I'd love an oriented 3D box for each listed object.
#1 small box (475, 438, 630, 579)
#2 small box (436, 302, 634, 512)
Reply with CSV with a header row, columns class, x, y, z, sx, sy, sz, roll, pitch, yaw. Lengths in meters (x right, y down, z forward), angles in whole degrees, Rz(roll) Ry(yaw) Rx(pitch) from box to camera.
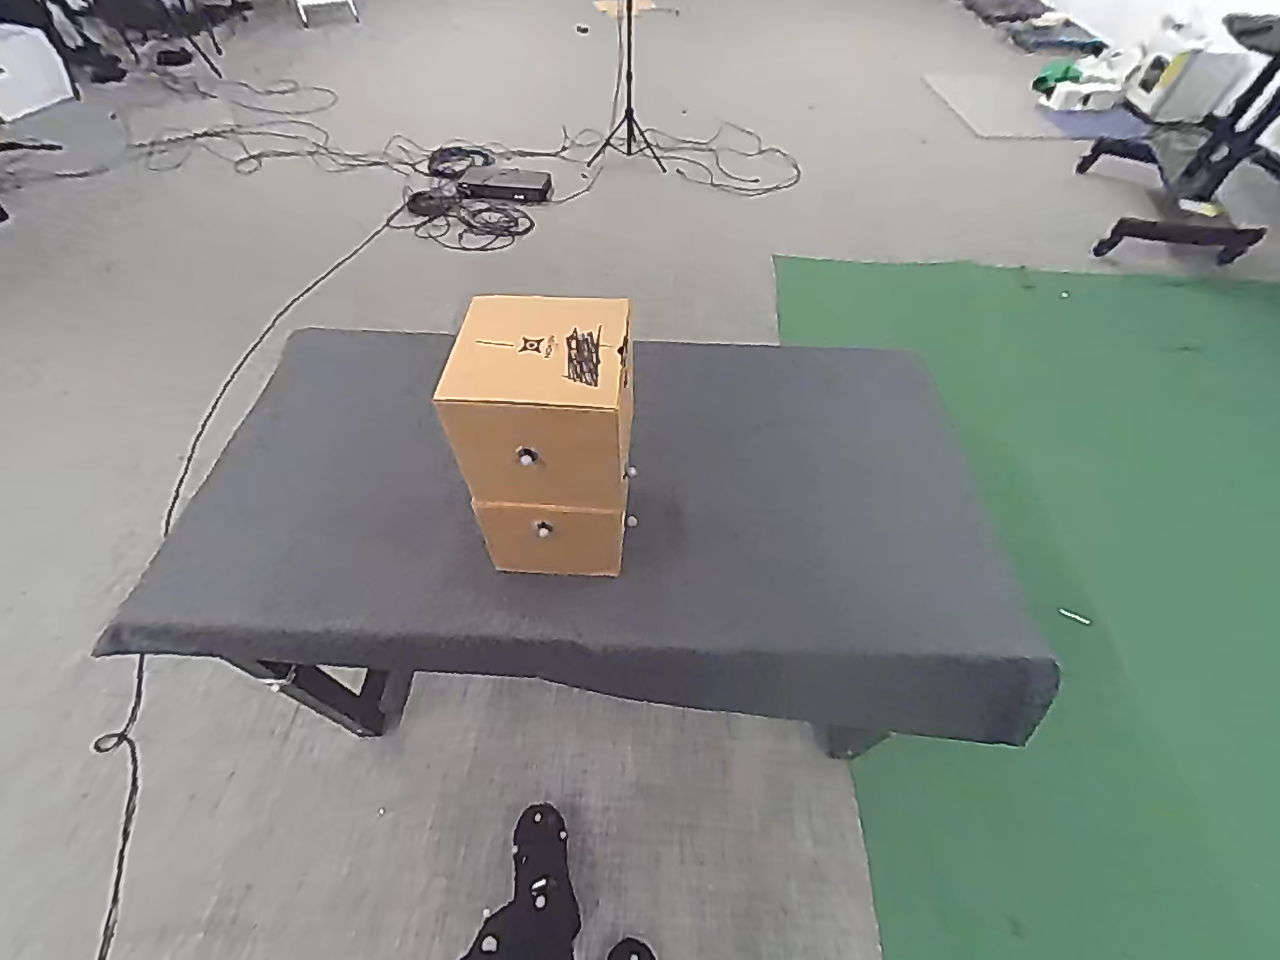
class,x,y,z,sx,sy,sz,roll,pitch,yaw
small box,-0.106,0.024,0.741,0.179,0.176,0.168,3,54,0
small box,-0.100,-0.076,0.611,0.179,0.176,0.168,3,53,3
